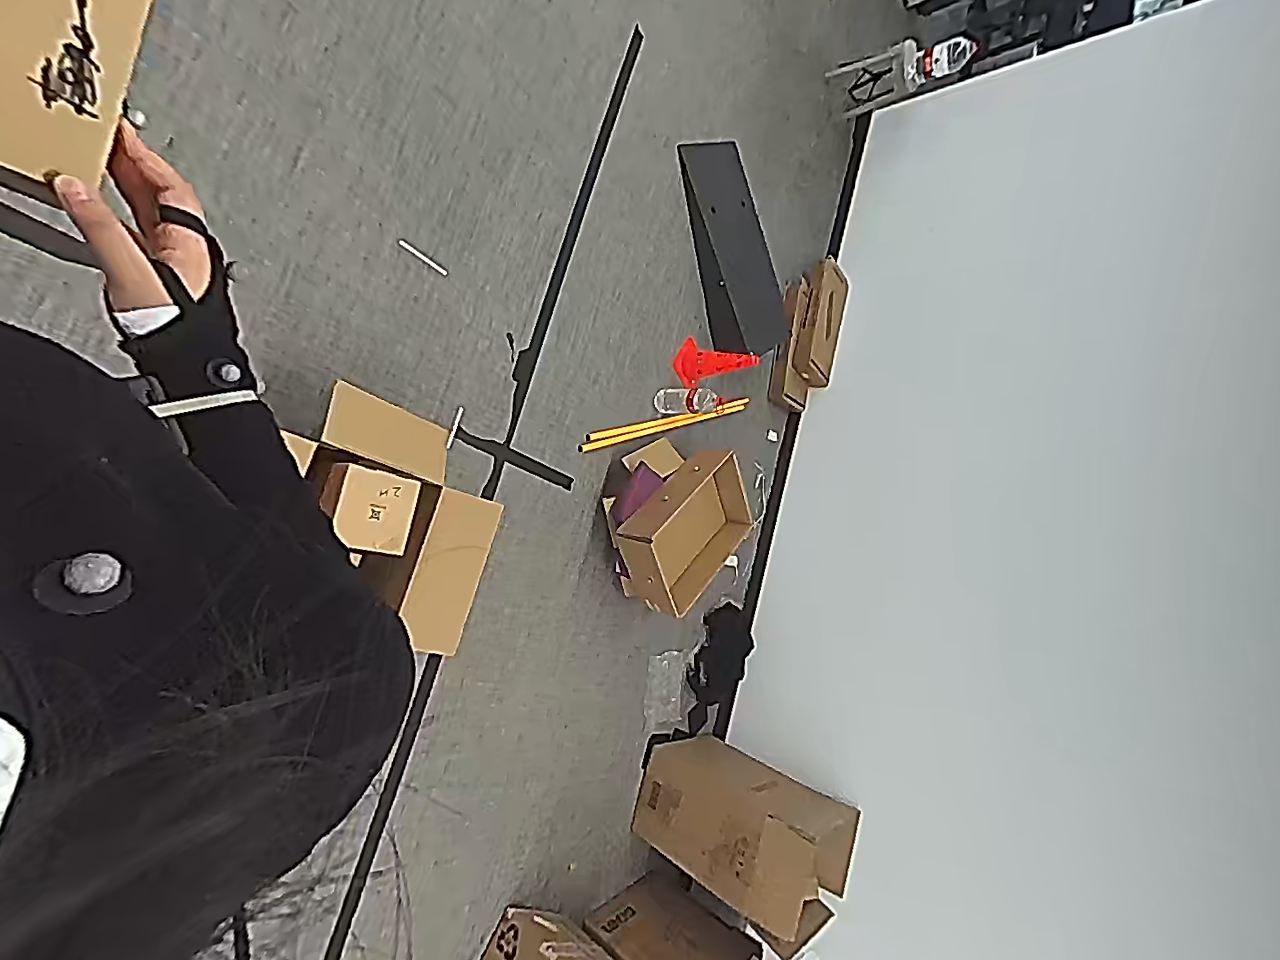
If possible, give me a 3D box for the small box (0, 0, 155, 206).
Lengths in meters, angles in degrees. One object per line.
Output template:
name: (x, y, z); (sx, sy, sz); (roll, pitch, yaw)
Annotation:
small box: (-0.425, -0.282, 0.316); (0.179, 0.176, 0.168); (15, 93, -52)
